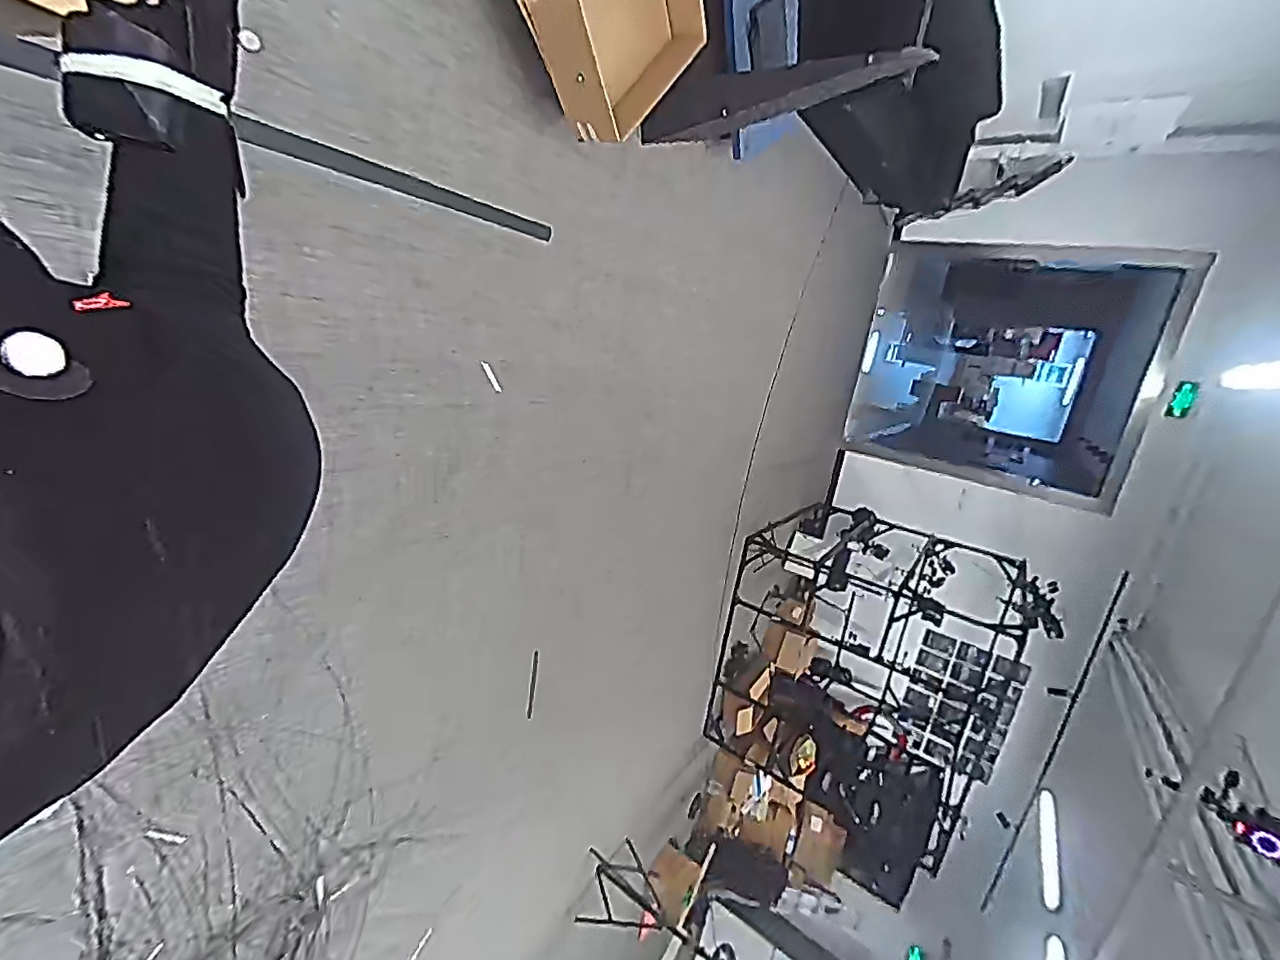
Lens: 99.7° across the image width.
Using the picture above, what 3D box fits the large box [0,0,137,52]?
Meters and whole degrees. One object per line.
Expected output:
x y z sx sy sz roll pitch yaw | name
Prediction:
-0.522 -0.454 0.216 0.408 0.320 0.320 -12 125 -57 | large box
